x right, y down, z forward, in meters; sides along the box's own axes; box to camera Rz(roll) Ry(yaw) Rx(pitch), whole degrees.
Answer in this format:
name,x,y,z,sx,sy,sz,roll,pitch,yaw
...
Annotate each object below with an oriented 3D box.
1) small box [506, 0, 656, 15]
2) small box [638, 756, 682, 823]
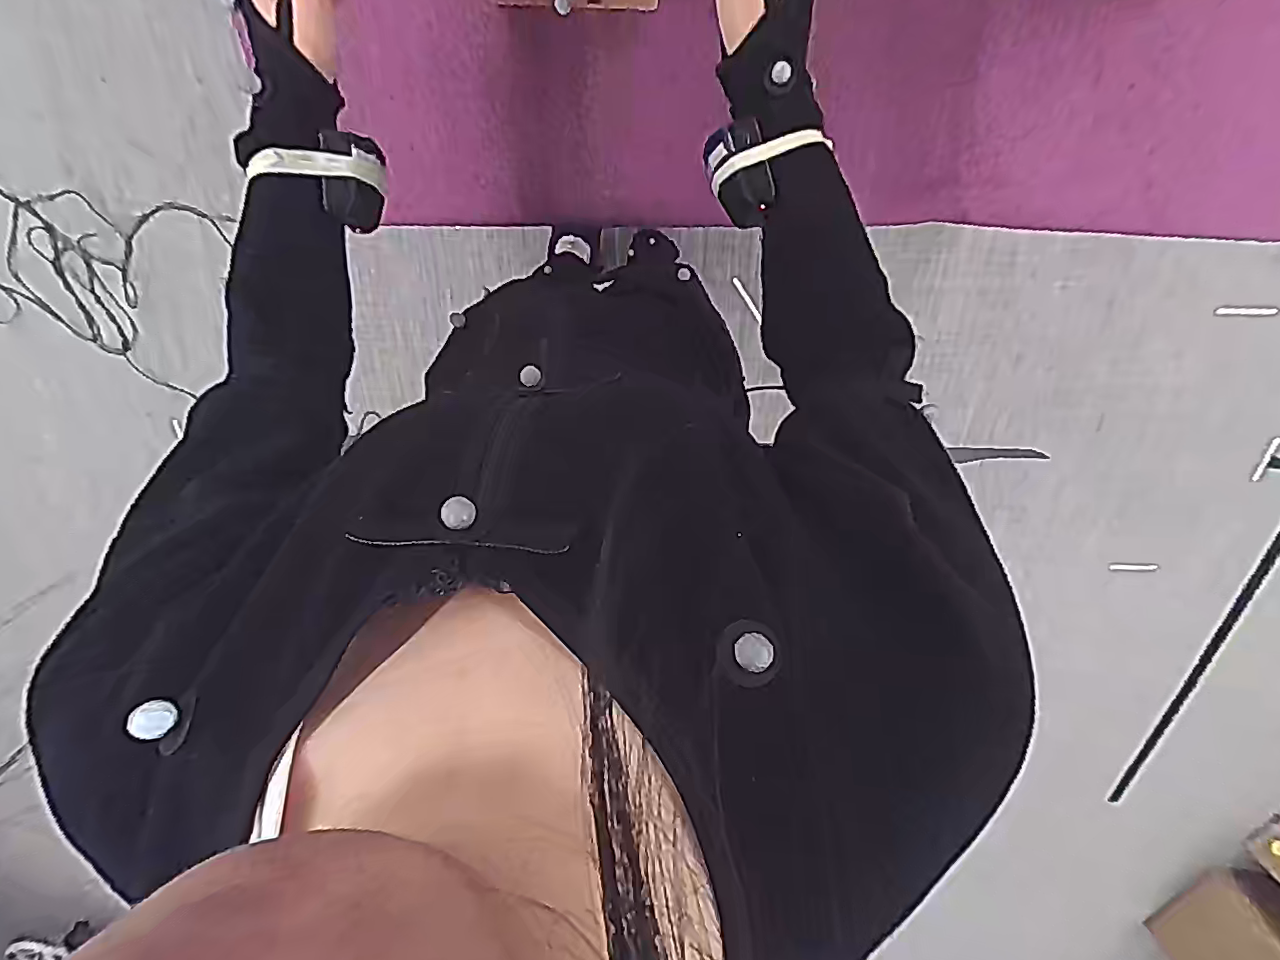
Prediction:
name,x,y,z,sx,sy,sz,roll,pitch,yaw
small box,-0.060,-0.510,0.429,0.168,0.176,0.179,2,118,-1
small box,0.077,1.210,2.123,0.168,0.176,0.179,-3,117,2
